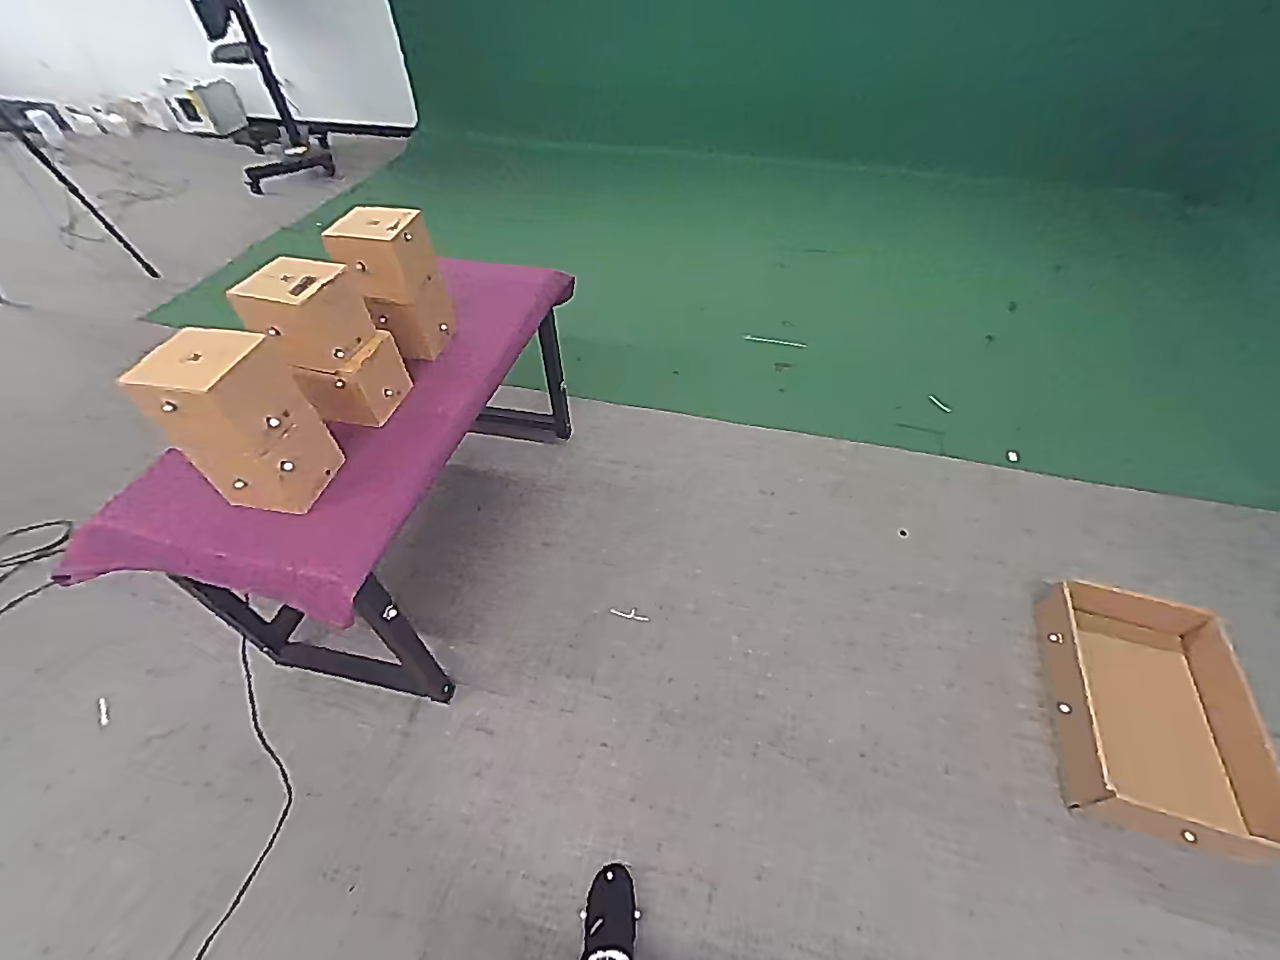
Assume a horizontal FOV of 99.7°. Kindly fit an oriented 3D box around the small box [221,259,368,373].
[{"bbox_3d":[-0.732,-0.351,1.171,0.179,0.176,0.168,11,49,11],"label":"small box"}]

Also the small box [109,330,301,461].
[{"bbox_3d":[-0.777,-0.152,0.990,0.179,0.176,0.168,7,49,7],"label":"small box"}]

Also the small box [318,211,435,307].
[{"bbox_3d":[-0.643,-0.546,1.342,0.179,0.176,0.168,6,49,7],"label":"small box"}]

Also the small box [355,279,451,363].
[{"bbox_3d":[-0.641,-0.436,1.464,0.179,0.176,0.168,8,49,7],"label":"small box"}]

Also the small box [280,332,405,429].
[{"bbox_3d":[-0.700,-0.241,1.293,0.179,0.176,0.168,9,49,7],"label":"small box"}]
